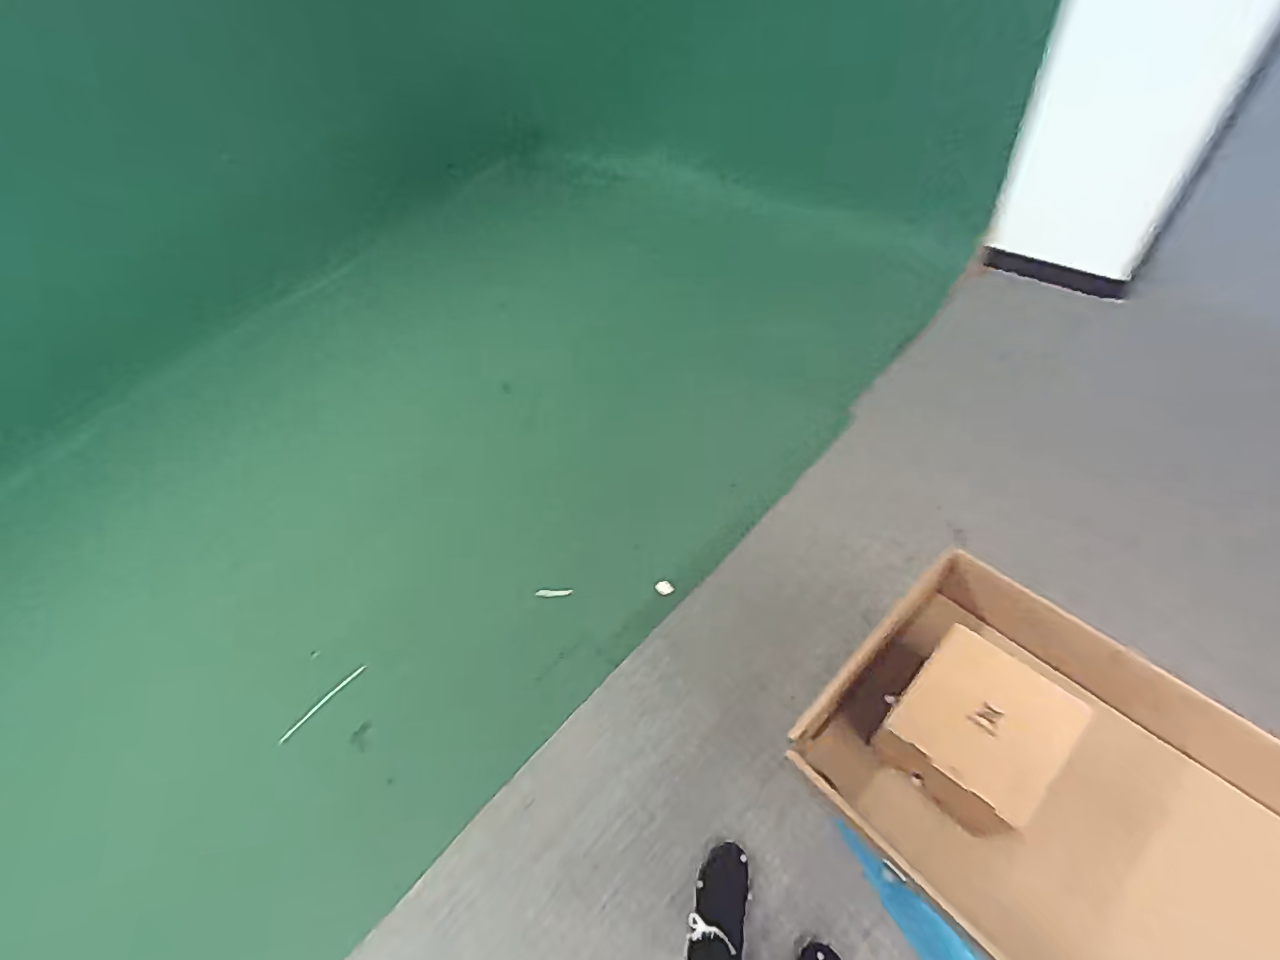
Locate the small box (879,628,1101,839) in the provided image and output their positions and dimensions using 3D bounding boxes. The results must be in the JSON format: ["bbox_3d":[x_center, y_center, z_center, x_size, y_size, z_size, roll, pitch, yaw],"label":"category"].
[{"bbox_3d":[0.442,0.335,0.716,0.179,0.176,0.168,-44,57,-15],"label":"small box"}]
